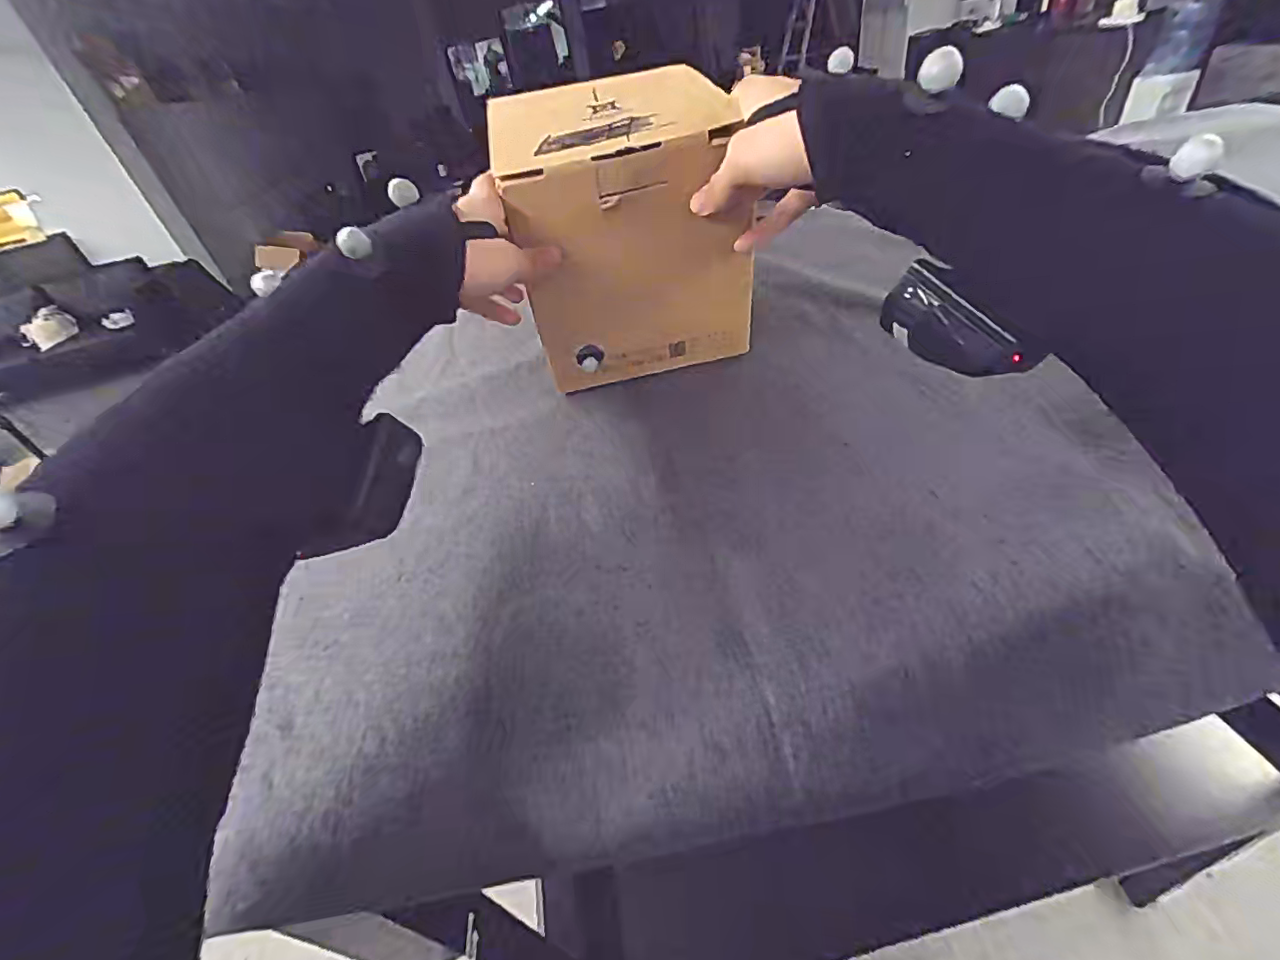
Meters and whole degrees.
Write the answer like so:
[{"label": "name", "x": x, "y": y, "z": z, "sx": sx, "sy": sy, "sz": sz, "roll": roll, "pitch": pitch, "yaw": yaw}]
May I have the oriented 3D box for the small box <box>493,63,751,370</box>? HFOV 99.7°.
[{"label": "small box", "x": -0.014, "y": -0.207, "z": 0.443, "sx": 0.168, "sy": 0.176, "sz": 0.179, "roll": -13, "pitch": 48, "yaw": -3}]
